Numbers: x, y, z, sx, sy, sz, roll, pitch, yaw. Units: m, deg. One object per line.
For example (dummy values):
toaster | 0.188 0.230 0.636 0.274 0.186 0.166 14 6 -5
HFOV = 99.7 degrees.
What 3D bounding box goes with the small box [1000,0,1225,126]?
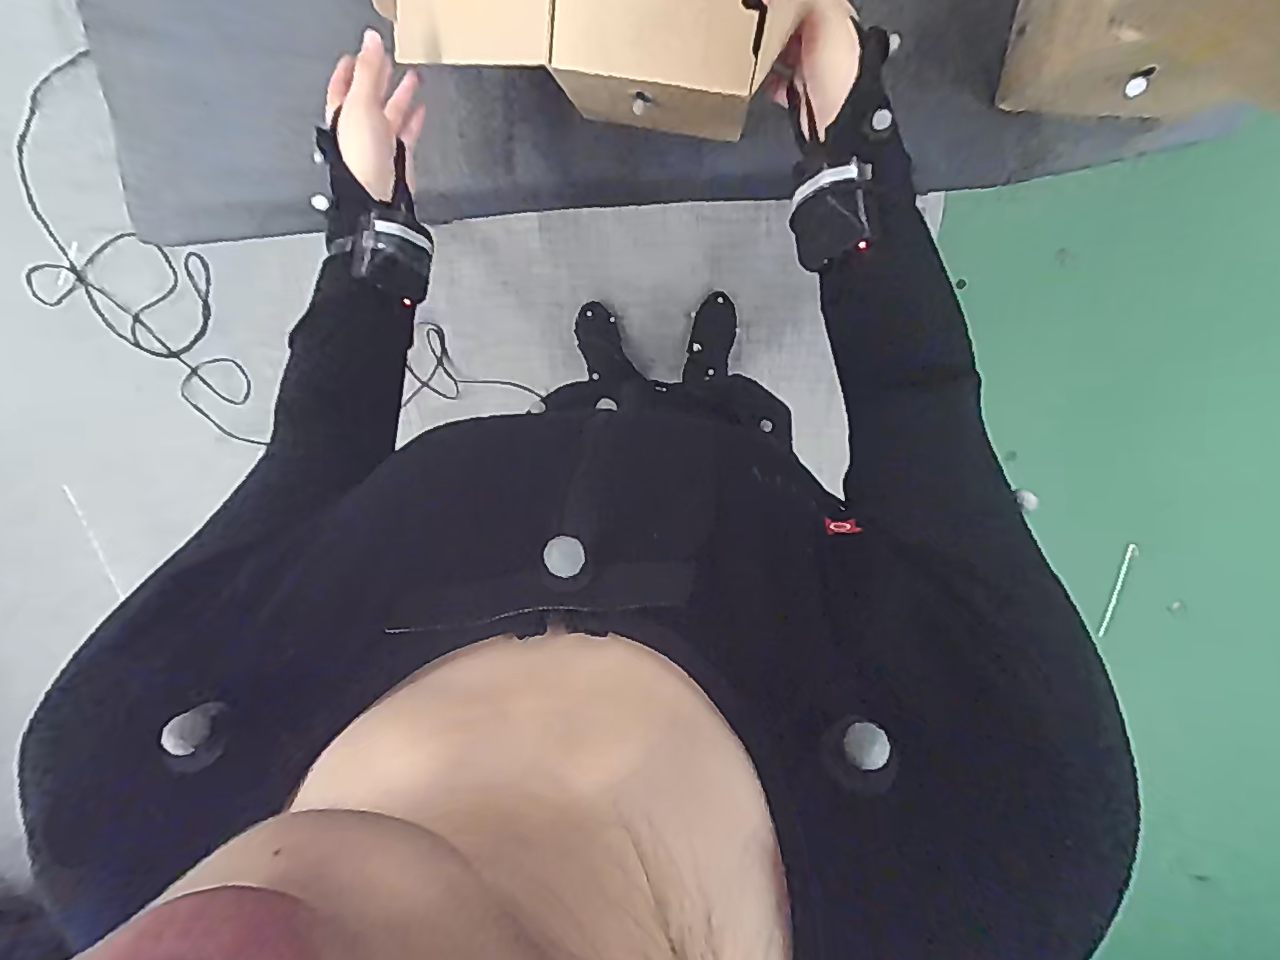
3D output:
small box | 0.450 -0.419 0.456 0.179 0.176 0.168 5 110 3
